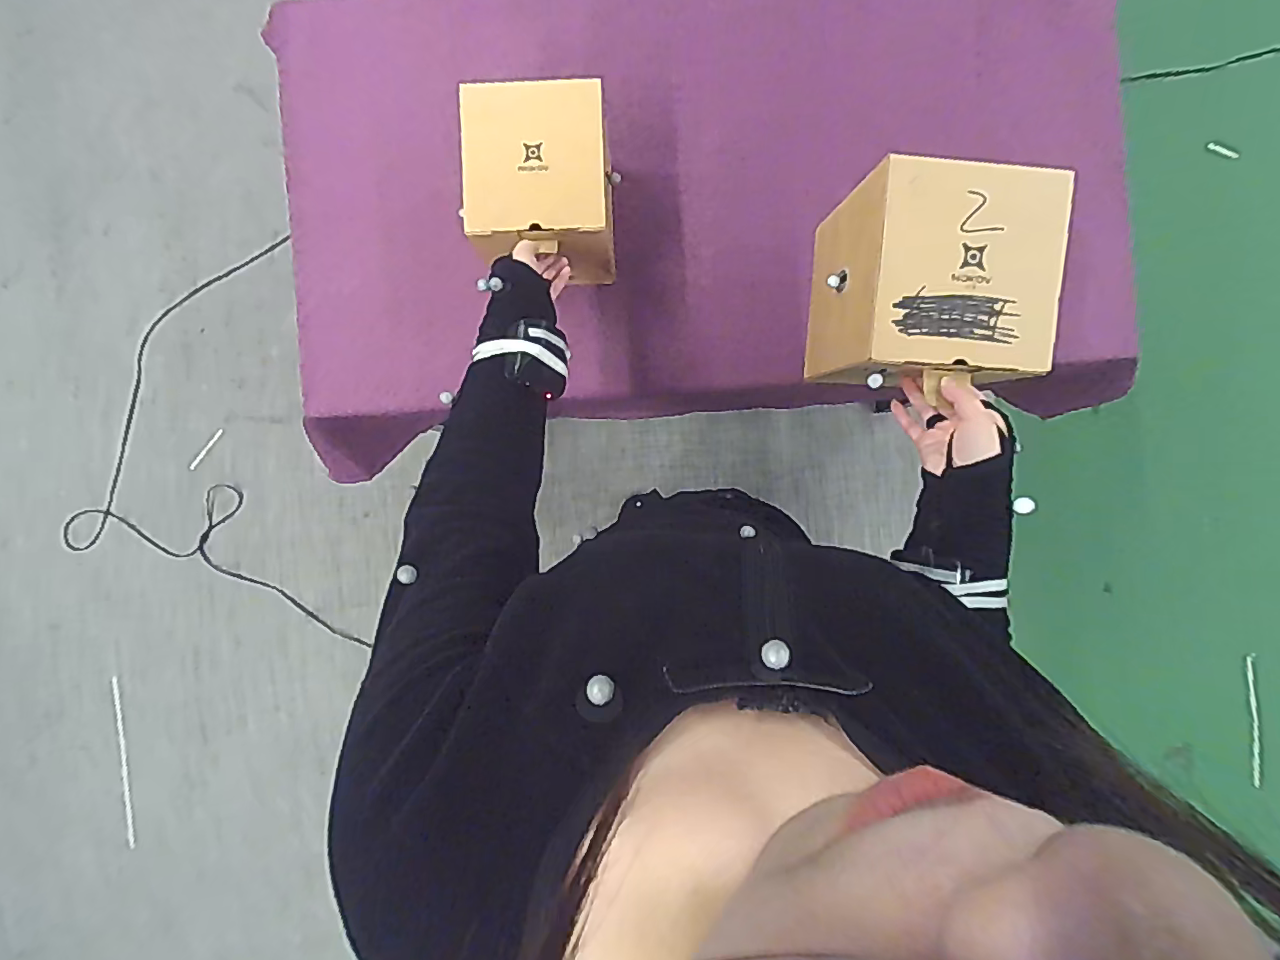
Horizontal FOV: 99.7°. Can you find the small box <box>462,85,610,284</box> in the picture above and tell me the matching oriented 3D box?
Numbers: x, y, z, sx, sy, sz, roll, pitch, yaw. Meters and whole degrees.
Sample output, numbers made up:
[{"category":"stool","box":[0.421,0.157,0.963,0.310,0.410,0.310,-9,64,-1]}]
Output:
[{"category":"small box","box":[-0.127,-0.377,0.715,0.168,0.176,0.179,-2,91,0]}]
